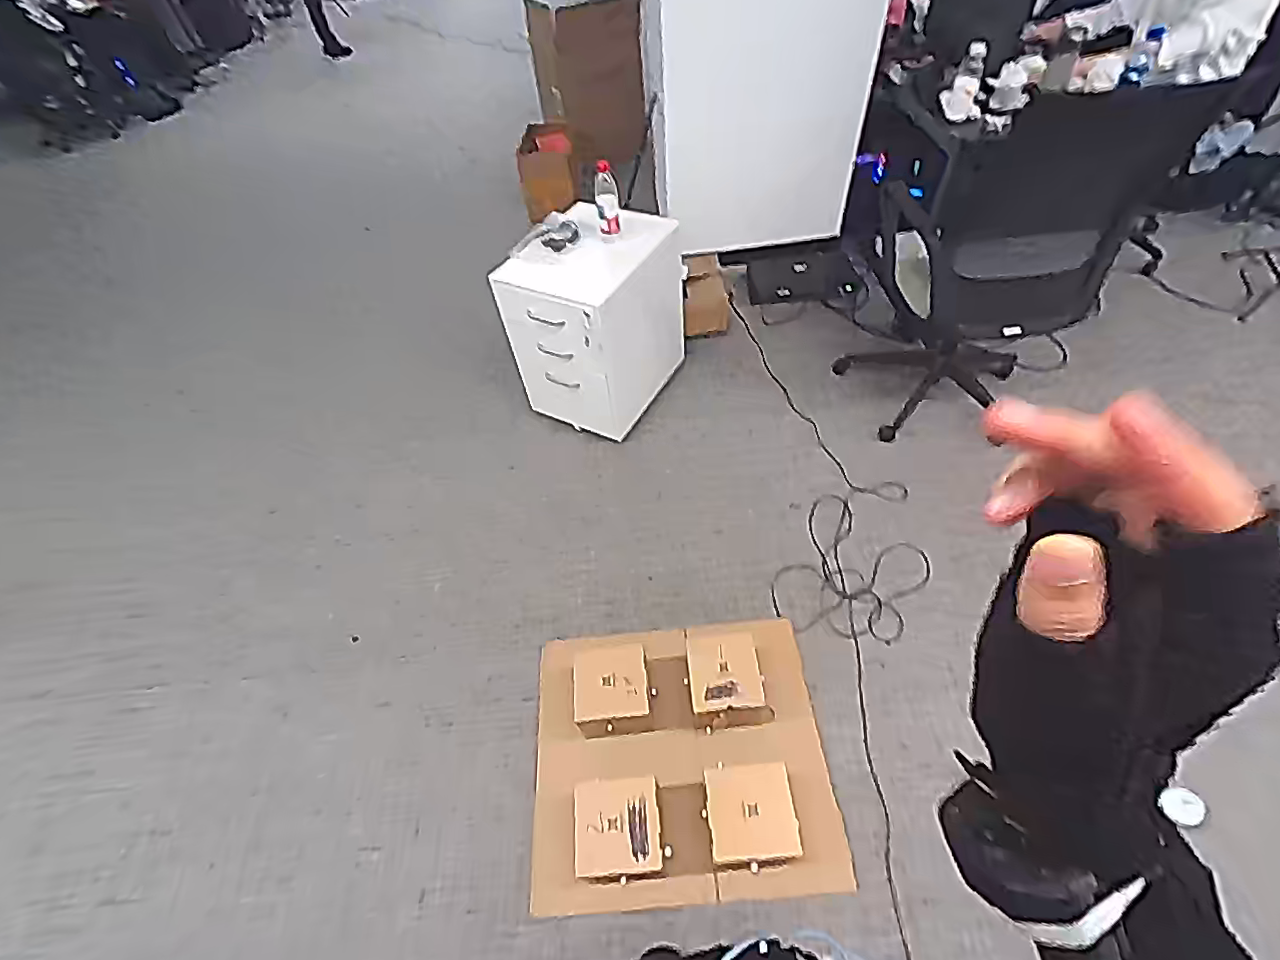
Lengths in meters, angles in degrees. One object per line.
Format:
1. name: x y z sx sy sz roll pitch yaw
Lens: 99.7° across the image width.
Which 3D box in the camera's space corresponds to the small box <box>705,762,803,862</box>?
1. small box: 0.236 0.716 1.163 0.179 0.176 0.168 -7 52 4
